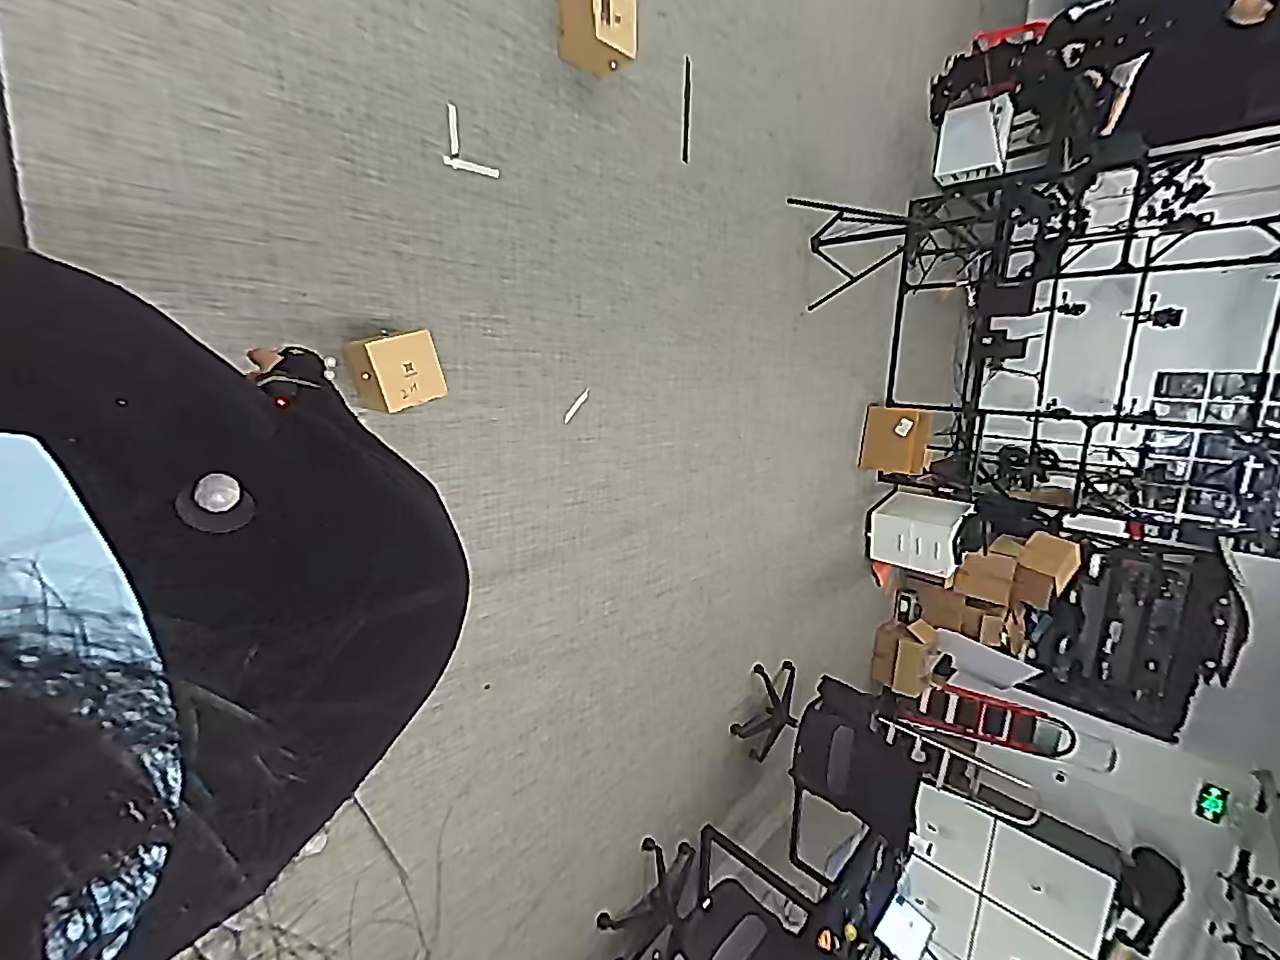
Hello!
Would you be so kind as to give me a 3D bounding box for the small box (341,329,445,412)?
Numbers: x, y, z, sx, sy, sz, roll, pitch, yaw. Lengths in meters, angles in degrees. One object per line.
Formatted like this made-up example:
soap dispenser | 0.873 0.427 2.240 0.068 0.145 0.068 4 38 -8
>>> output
small box | -0.640 -0.284 1.396 0.168 0.176 0.179 -30 120 -39
